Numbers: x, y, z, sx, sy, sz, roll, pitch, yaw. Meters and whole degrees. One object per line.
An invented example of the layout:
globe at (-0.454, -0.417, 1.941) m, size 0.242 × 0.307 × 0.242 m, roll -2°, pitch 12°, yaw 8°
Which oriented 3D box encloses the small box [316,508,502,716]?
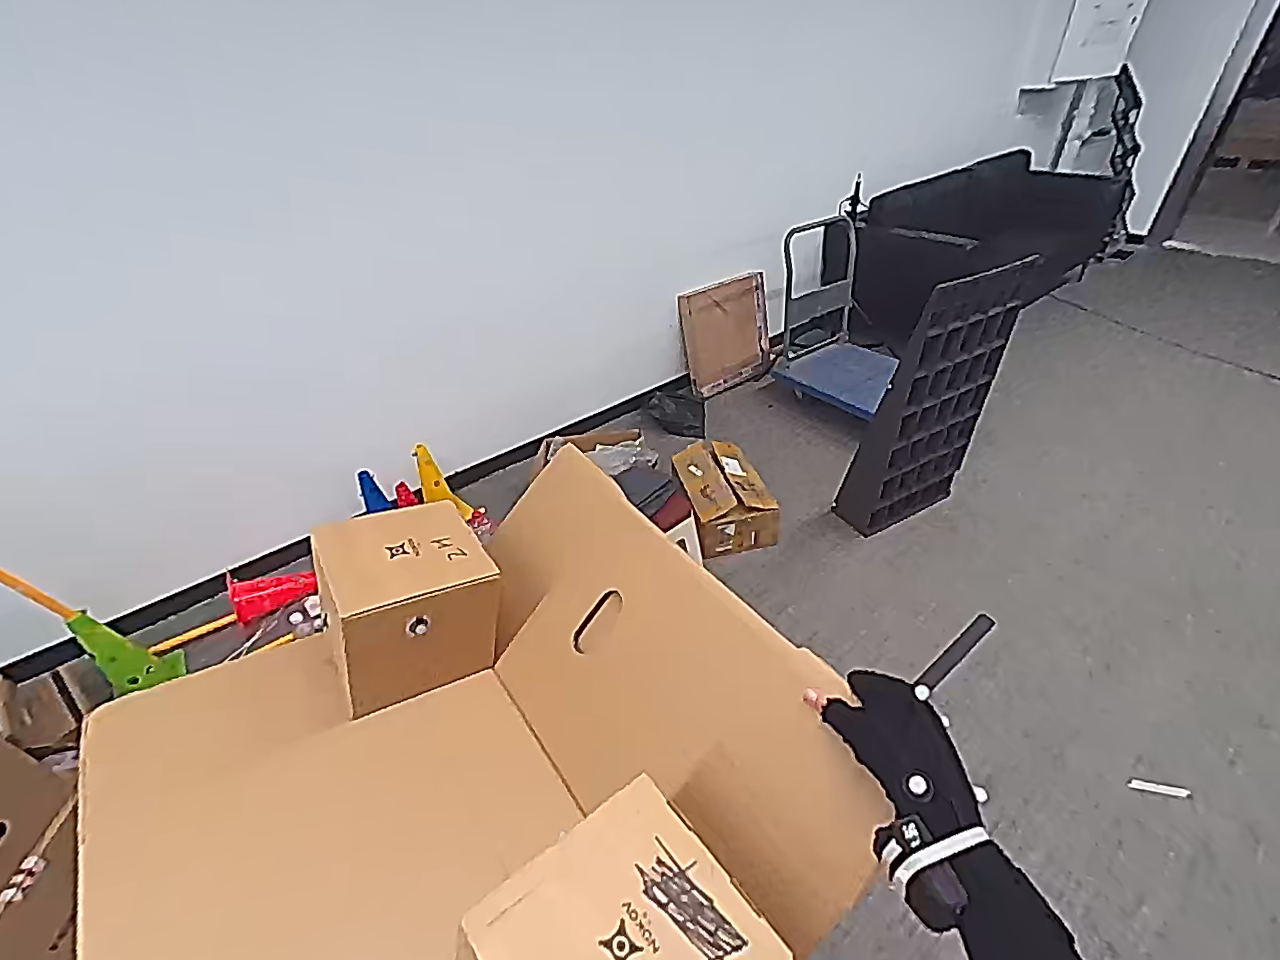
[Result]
small box at (-0.291, 0.162, 0.687) m, size 0.179 × 0.176 × 0.168 m, roll -11°, pitch 38°, yaw -36°
